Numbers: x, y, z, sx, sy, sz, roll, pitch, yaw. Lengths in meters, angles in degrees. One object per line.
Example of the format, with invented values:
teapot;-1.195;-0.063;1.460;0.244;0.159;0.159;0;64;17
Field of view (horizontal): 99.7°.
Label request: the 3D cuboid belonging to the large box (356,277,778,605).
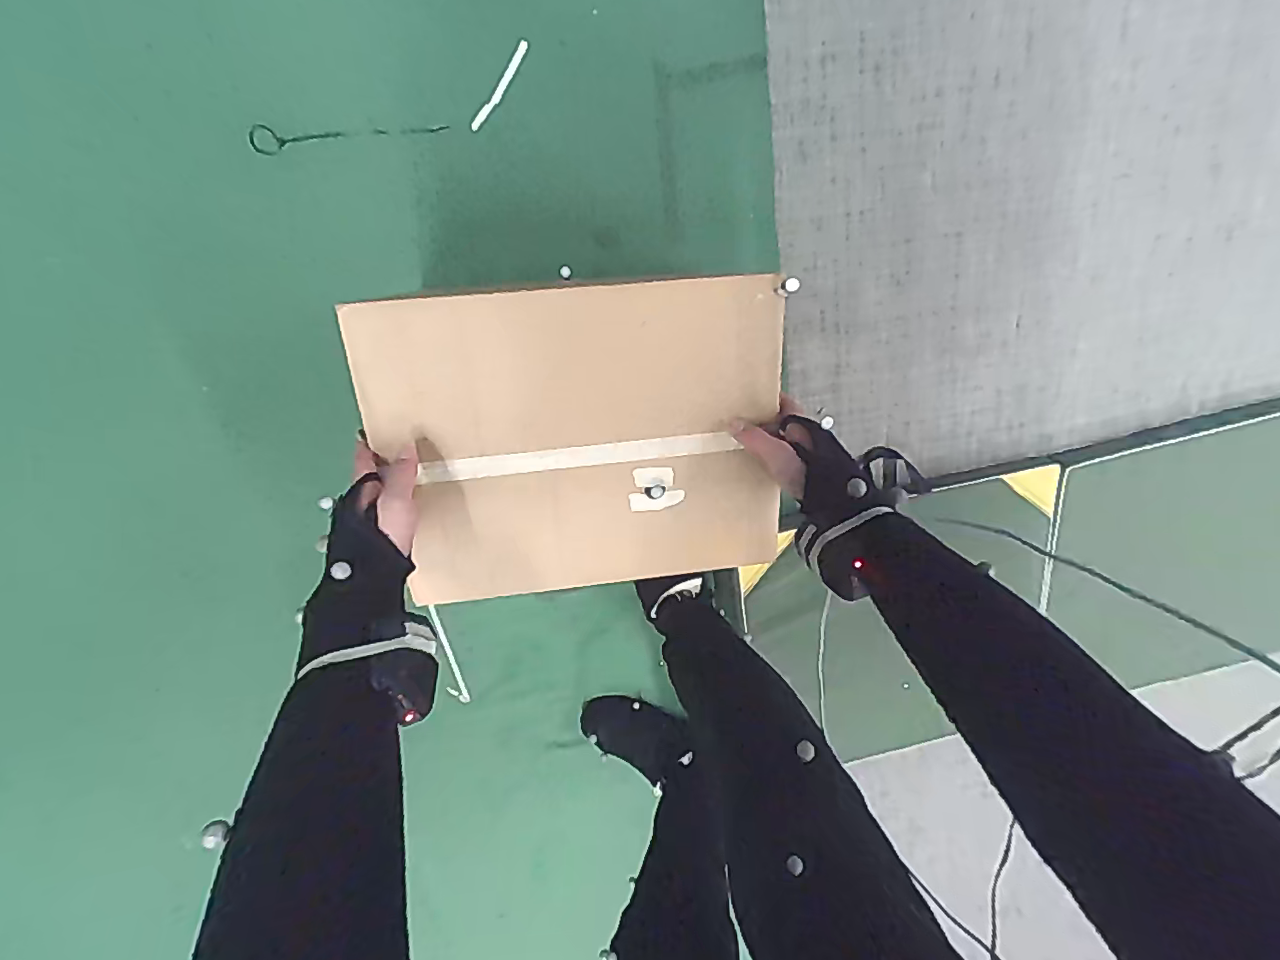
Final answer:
large box;-0.072;-0.080;0.696;0.408;0.320;0.320;-7;112;-6
